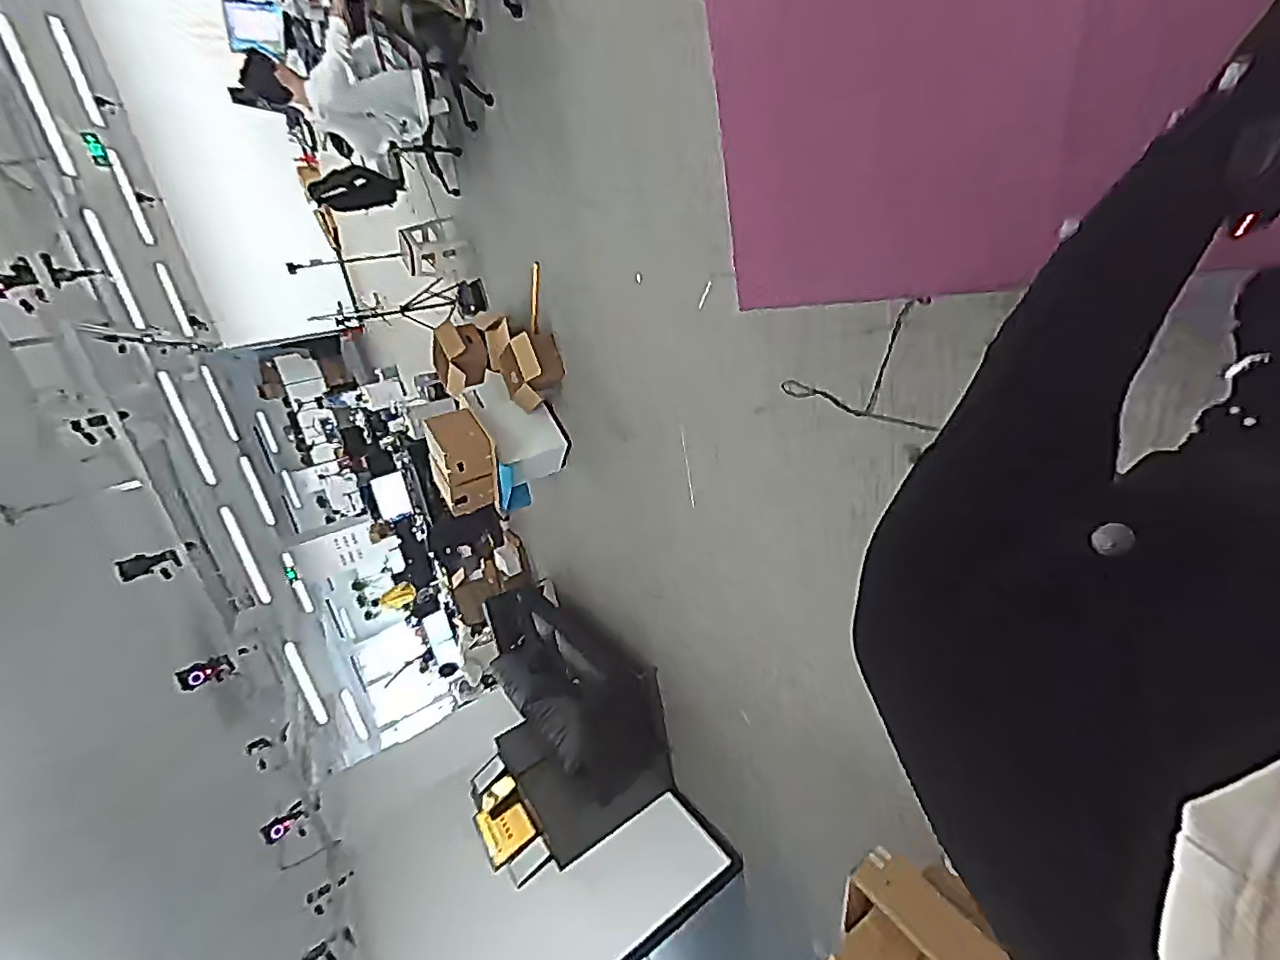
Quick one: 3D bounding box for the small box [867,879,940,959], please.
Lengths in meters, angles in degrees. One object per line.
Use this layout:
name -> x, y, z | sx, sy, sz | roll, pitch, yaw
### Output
small box -> 0.896, 1.528, 1.857 | 0.168, 0.176, 0.179 | 36, 138, 48

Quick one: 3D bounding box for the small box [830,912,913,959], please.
small box -> 0.760, 1.578, 1.782 | 0.179, 0.176, 0.168 | 36, 138, 49
